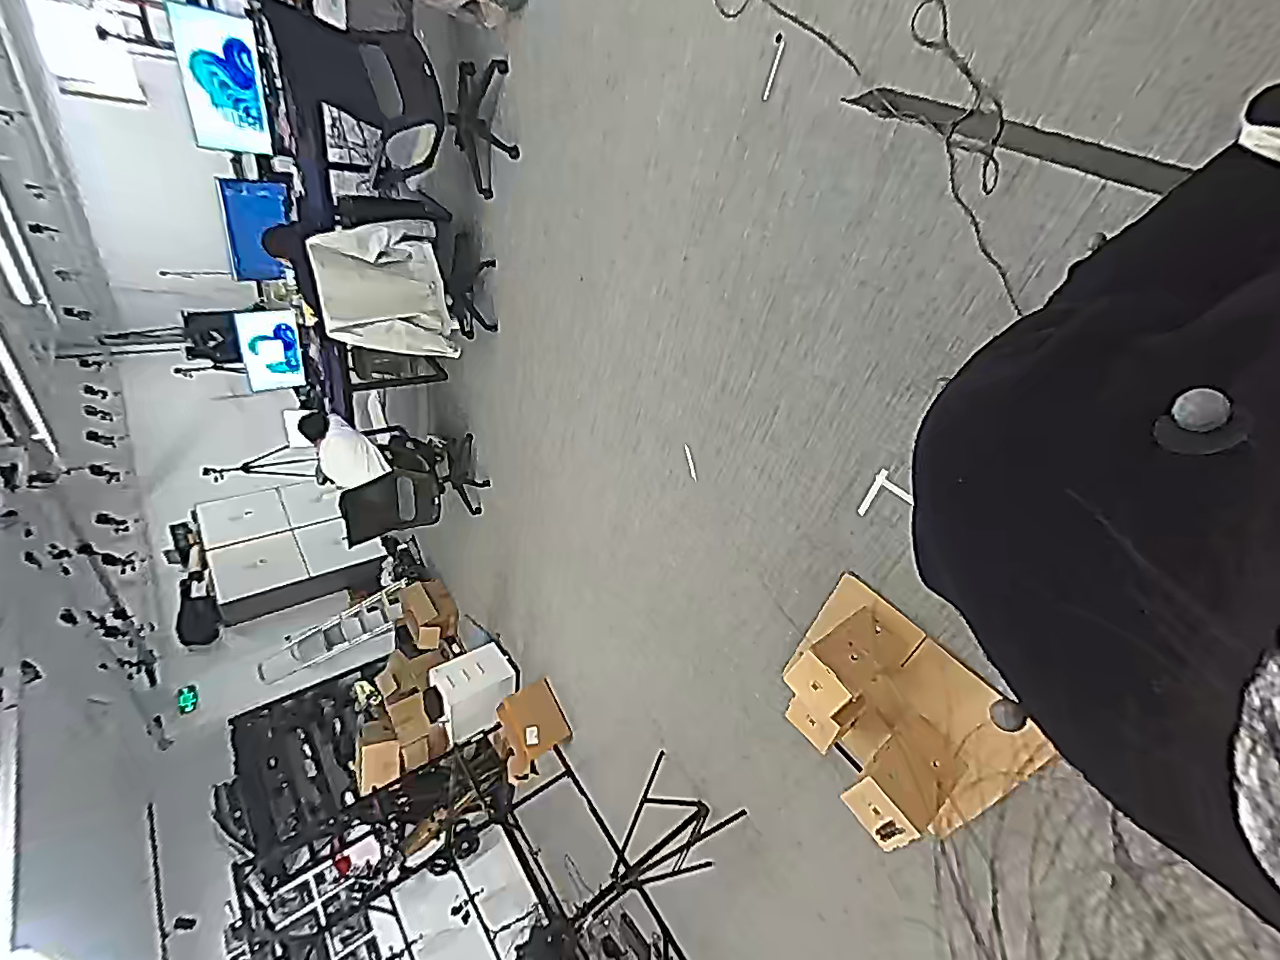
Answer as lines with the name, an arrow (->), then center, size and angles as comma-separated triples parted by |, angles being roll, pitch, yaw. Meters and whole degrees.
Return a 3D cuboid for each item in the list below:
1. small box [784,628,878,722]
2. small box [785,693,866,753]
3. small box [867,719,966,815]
small box -> 0.572, 0.577, 1.614 | 0.168, 0.176, 0.179 | 47, 135, 31
small box -> 0.645, 0.796, 1.880 | 0.179, 0.176, 0.168 | 41, 134, 37
small box -> 0.845, 0.870, 1.648 | 0.179, 0.176, 0.168 | 50, 137, 26
